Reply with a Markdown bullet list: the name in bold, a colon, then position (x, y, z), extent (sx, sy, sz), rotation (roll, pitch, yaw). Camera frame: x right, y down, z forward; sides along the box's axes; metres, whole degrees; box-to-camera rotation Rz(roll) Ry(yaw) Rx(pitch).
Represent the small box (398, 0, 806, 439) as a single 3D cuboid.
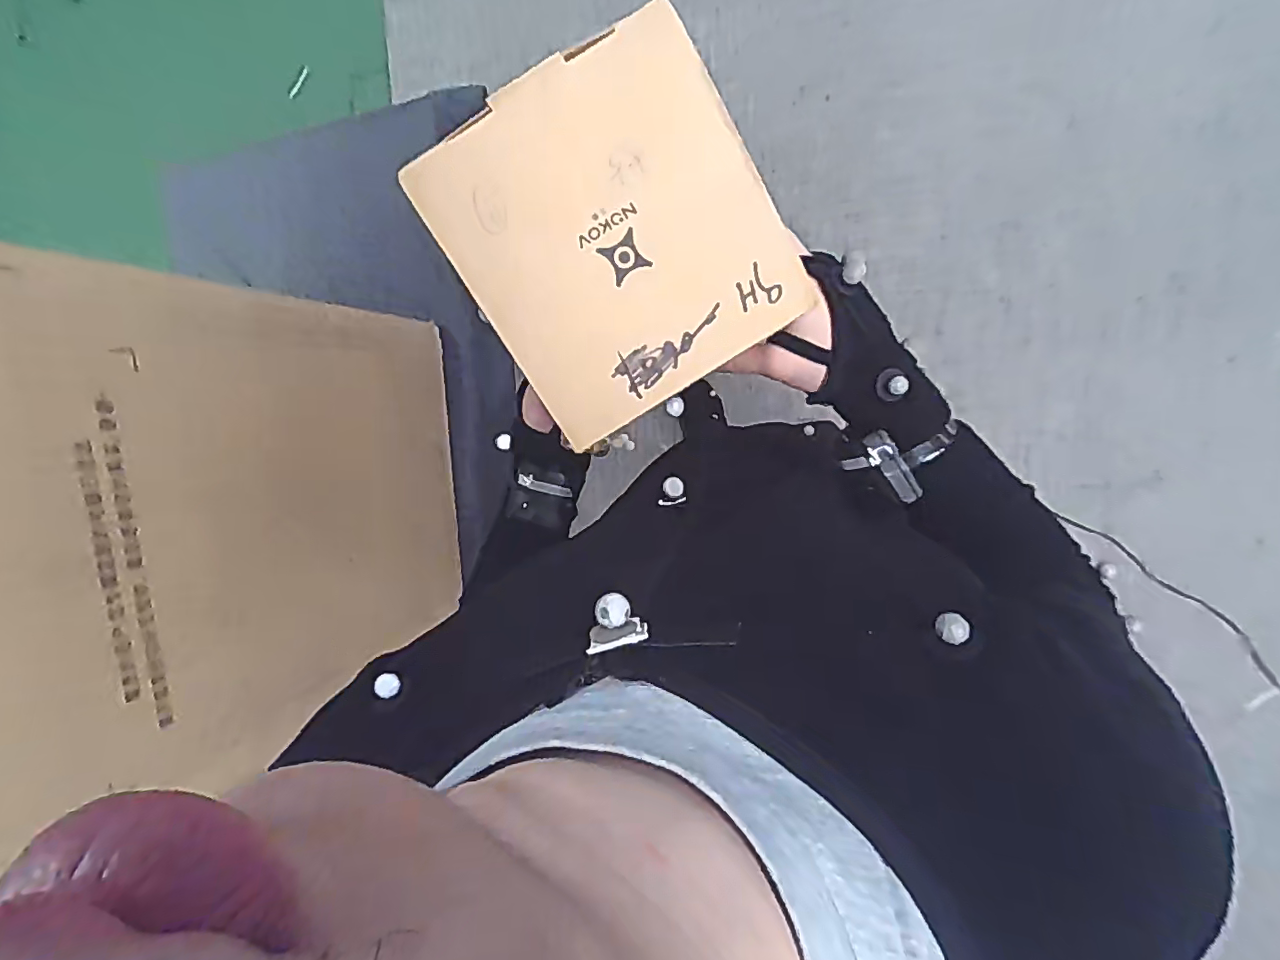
- **small box**: position (-0.022, -0.149, 0.372), extent (0.168, 0.176, 0.179), rotation (-30, 102, 3)
